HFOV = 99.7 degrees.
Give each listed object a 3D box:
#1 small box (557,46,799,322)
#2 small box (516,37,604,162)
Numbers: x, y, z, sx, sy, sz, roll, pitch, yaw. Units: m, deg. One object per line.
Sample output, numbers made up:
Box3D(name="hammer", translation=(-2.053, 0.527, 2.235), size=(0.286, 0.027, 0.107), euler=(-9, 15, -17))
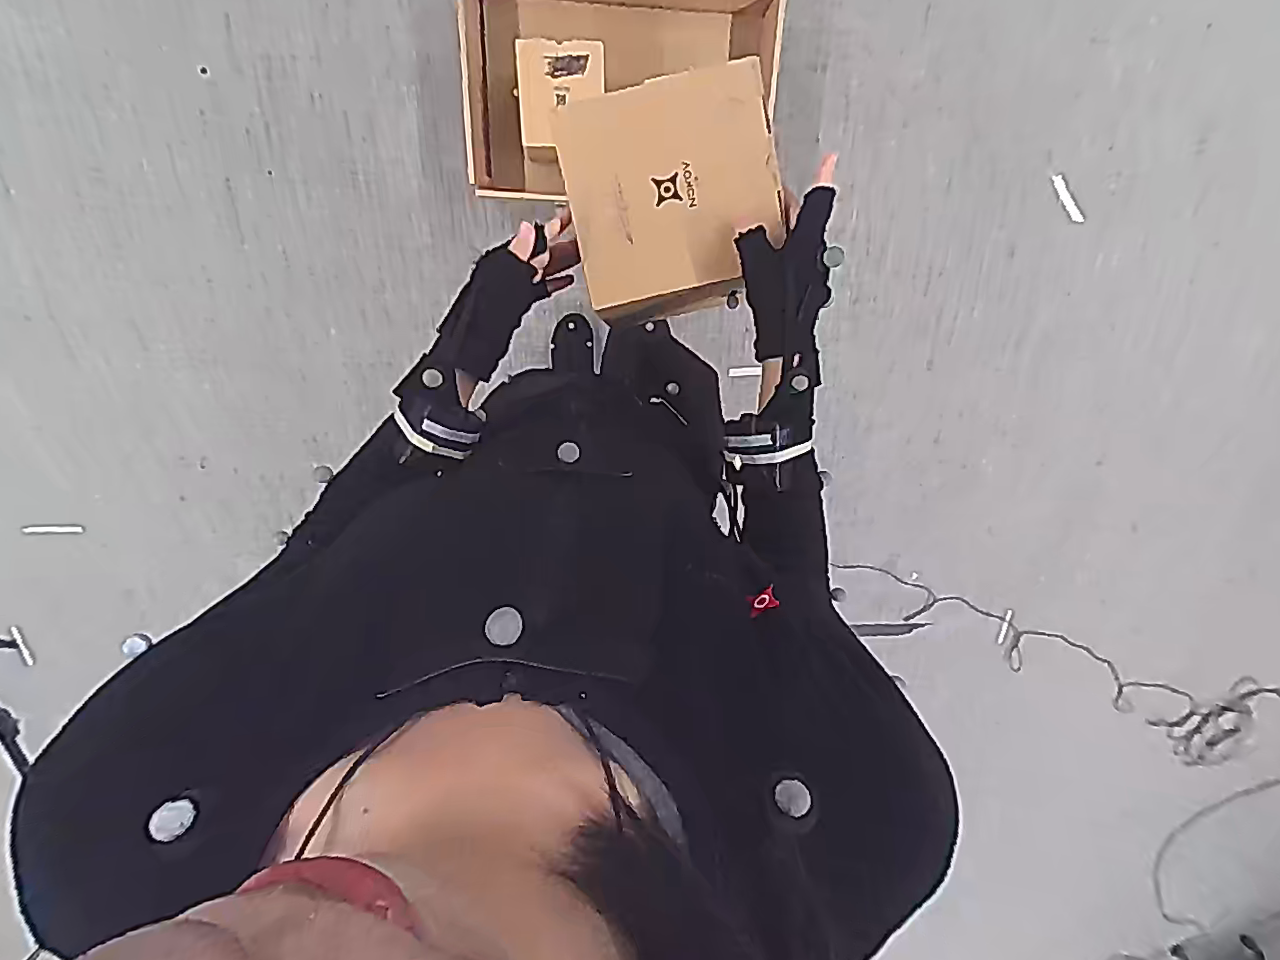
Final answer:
Box3D(name="small box", translation=(0.035, -0.259, 0.519), size=(0.179, 0.176, 0.168), euler=(-12, 98, 4))
Box3D(name="small box", translation=(-0.159, -0.767, 1.108), size=(0.168, 0.176, 0.179), euler=(-2, 112, -5))
